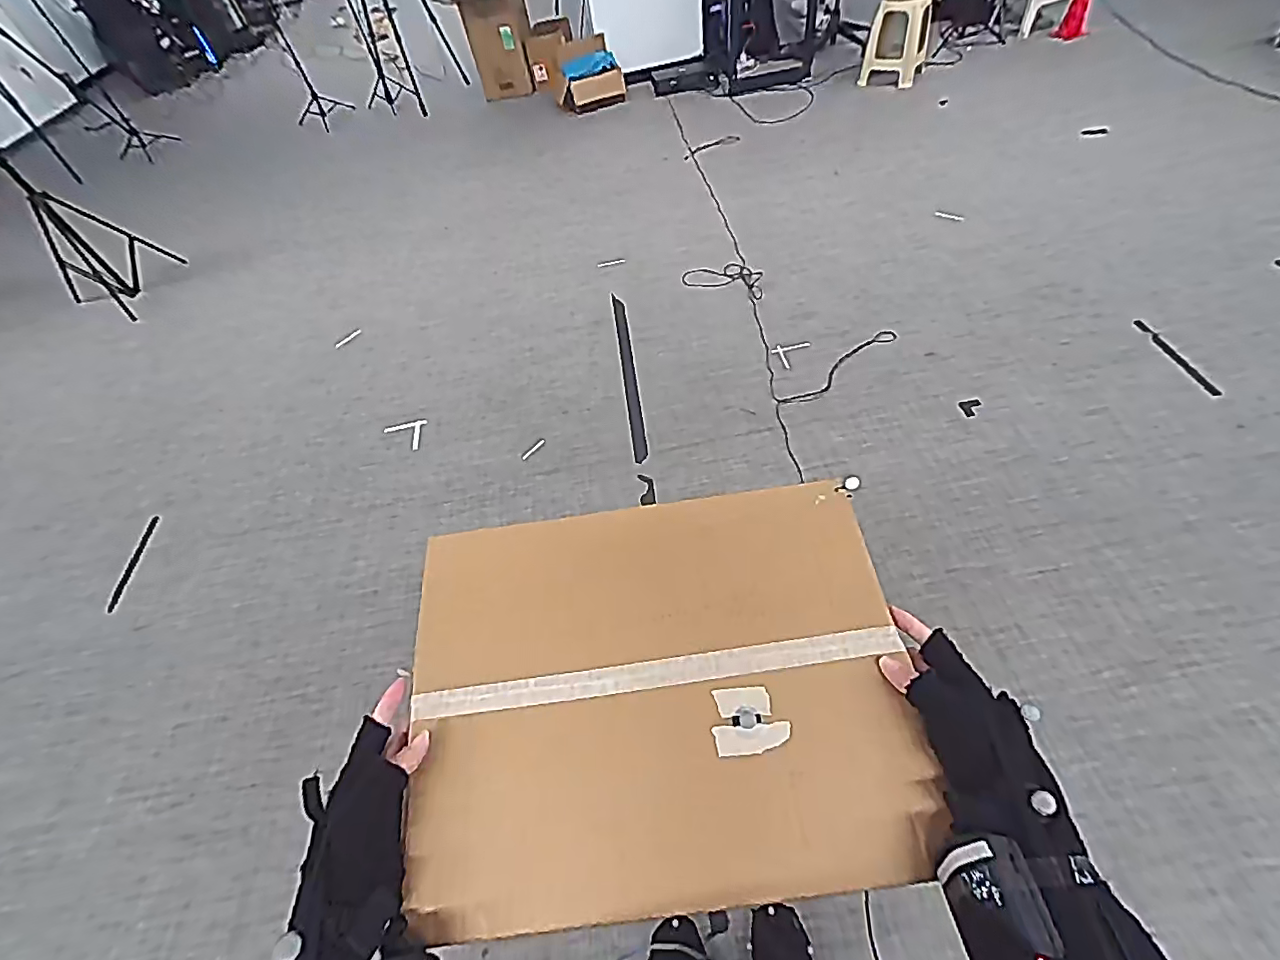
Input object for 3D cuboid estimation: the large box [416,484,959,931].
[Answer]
[{"bbox_3d":[0.025,0.238,0.588,0.408,0.320,0.320,-8,59,0],"label":"large box"}]
